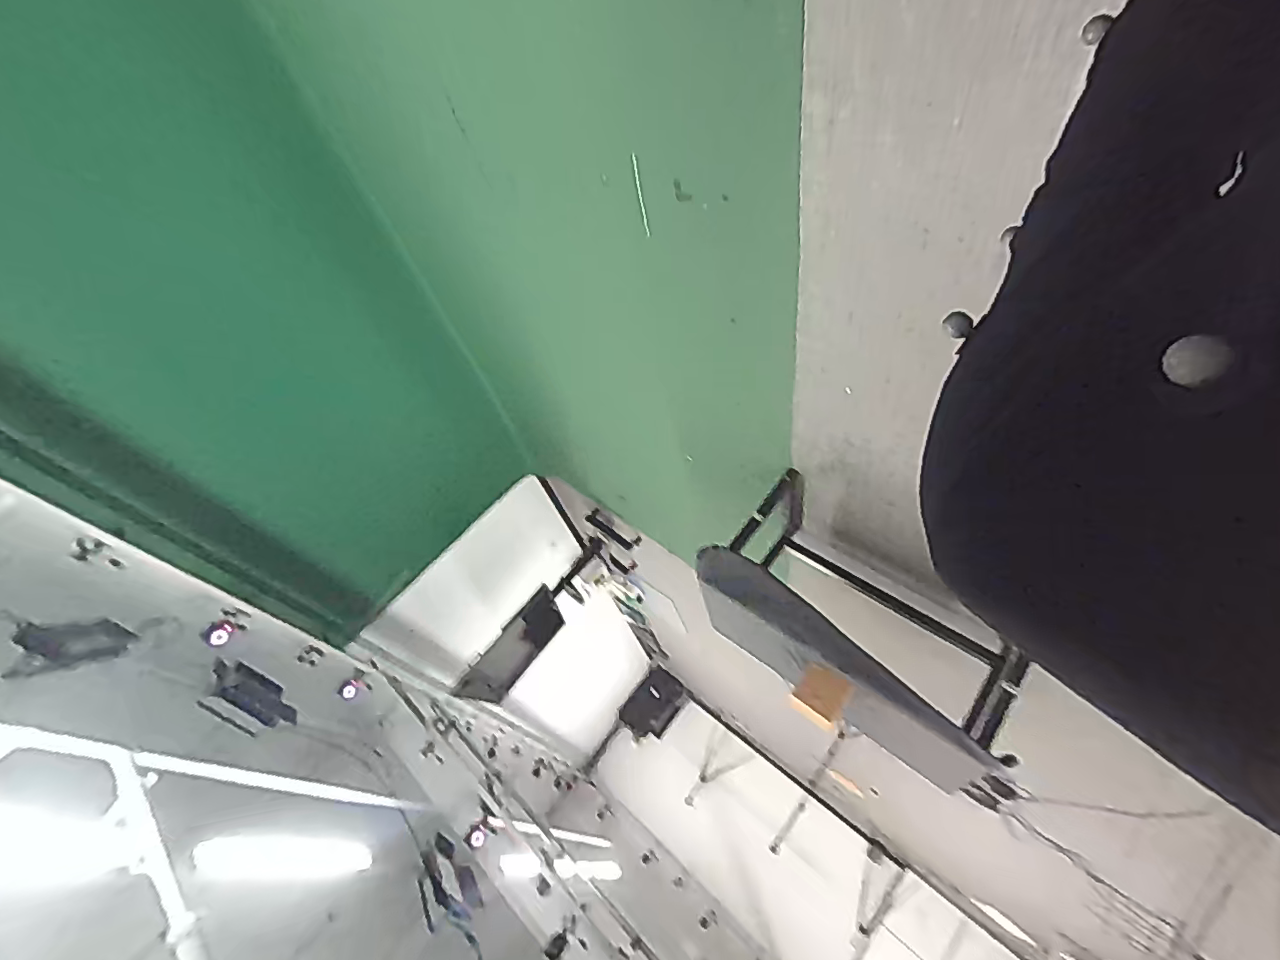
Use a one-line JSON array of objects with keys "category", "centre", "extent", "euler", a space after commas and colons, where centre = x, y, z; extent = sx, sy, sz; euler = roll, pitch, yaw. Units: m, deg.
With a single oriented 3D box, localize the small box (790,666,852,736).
[{"category": "small box", "centre": [0.715, 0.871, 2.139], "extent": [0.179, 0.176, 0.168], "euler": [32, 156, 31]}]
